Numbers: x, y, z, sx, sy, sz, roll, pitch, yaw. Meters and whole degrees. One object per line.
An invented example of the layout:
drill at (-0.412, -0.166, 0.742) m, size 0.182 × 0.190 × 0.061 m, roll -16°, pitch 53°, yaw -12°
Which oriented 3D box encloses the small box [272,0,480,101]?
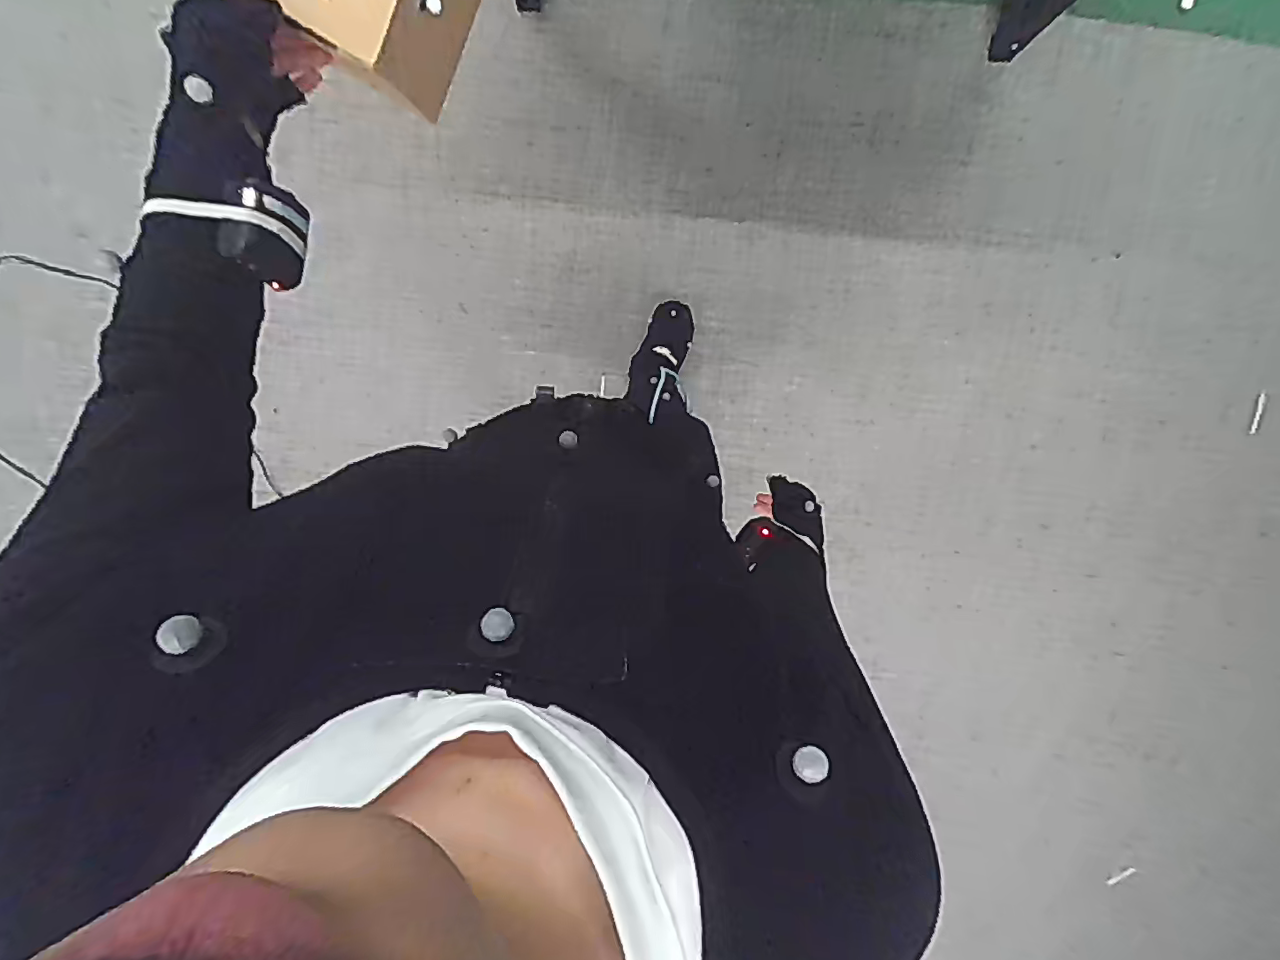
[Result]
small box at (-0.240, -0.475, 0.465) m, size 0.168 × 0.176 × 0.179 m, roll 26°, pitch 107°, yaw -13°
